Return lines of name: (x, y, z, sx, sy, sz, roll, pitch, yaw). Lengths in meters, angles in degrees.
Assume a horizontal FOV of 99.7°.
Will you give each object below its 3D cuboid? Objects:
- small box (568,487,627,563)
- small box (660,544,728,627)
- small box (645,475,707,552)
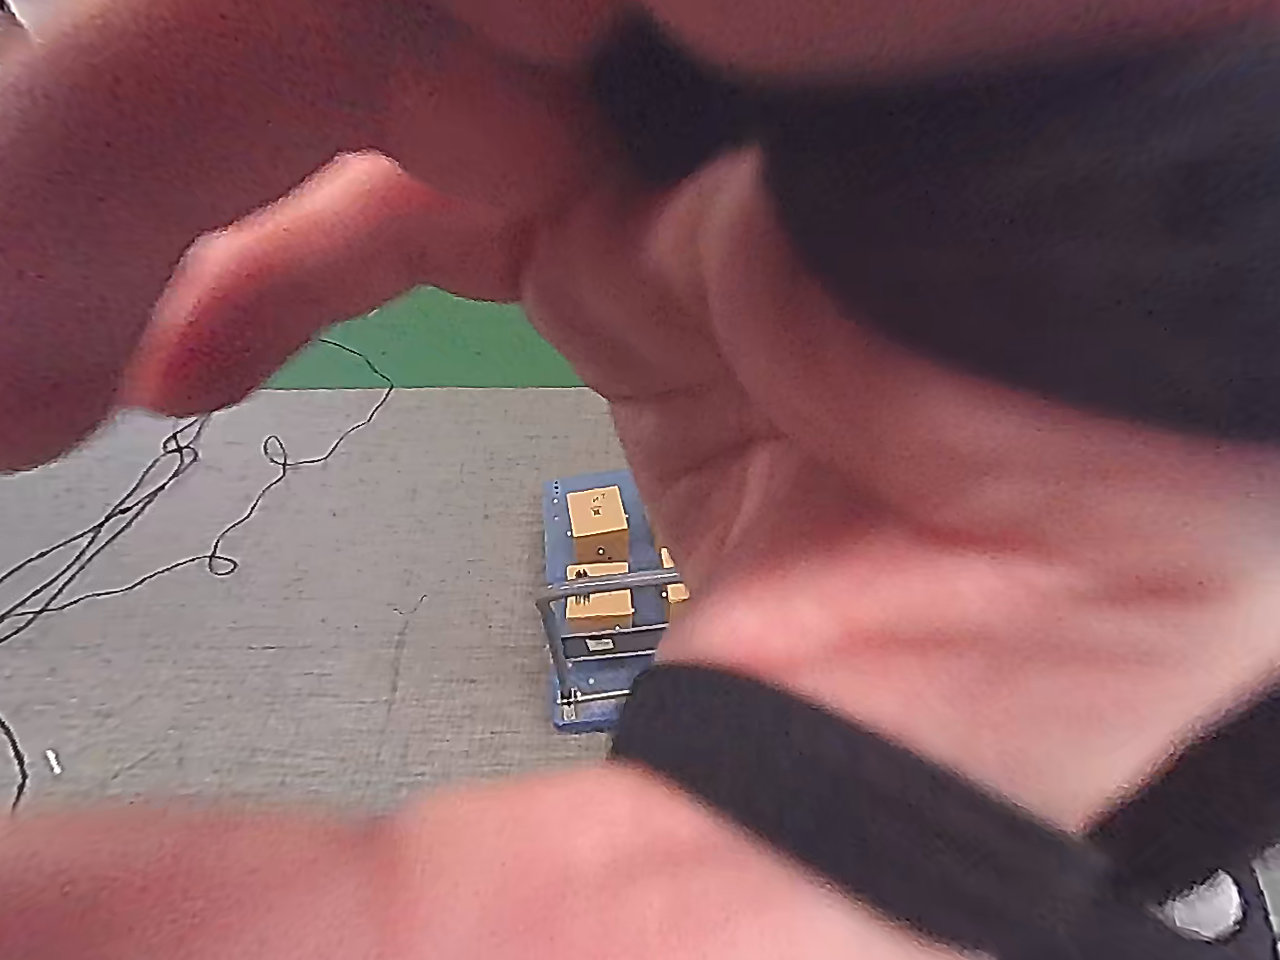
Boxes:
small box: (-0.134, 0.151, 1.734, 0.168, 0.176, 0.179, -8, 49, -8)
small box: (0.151, 0.311, 1.591, 0.168, 0.176, 0.179, -6, 49, -5)
small box: (0.112, 0.111, 1.768, 0.168, 0.176, 0.179, -9, 50, -7)
